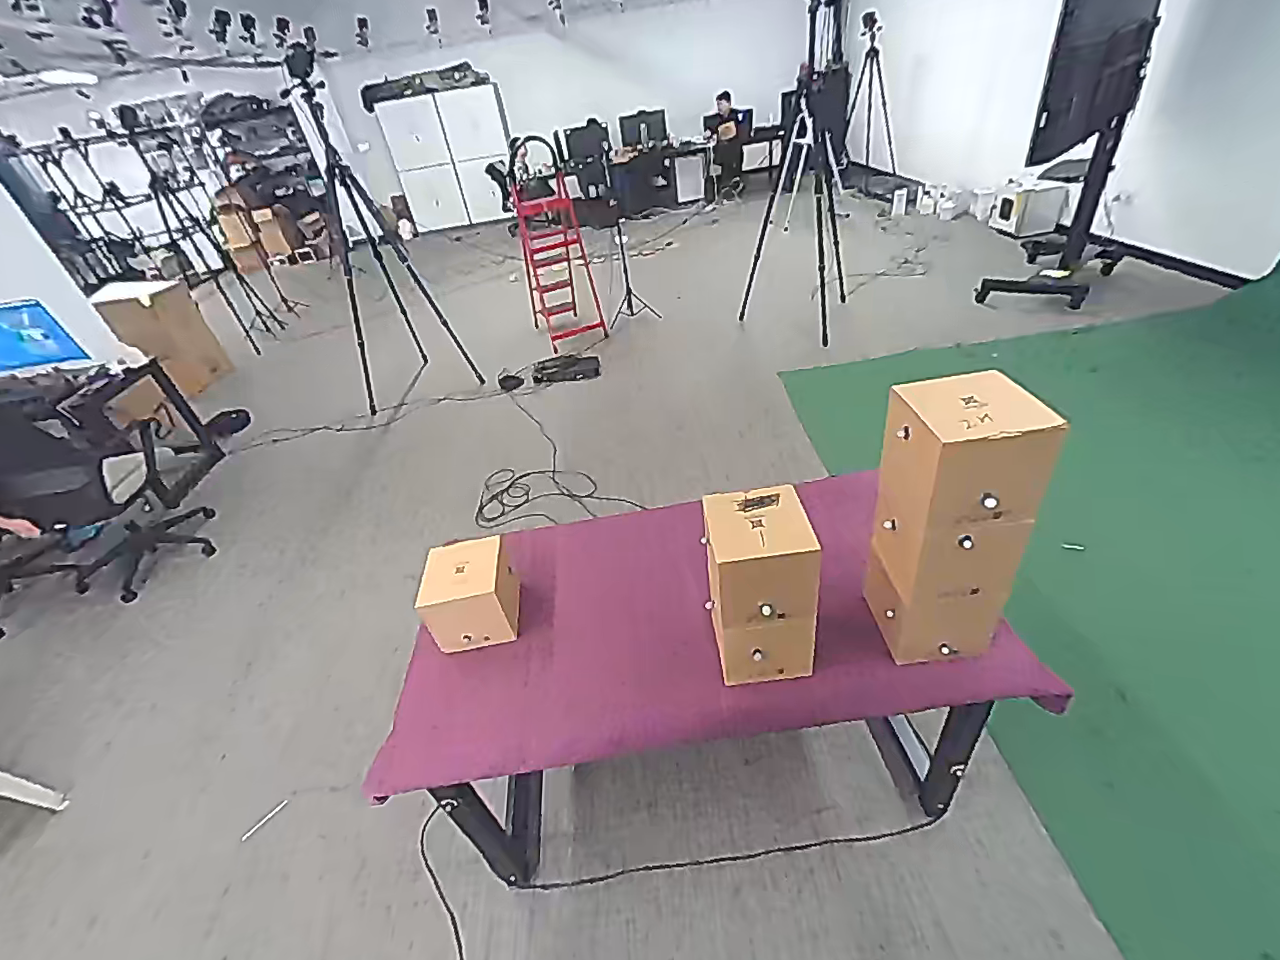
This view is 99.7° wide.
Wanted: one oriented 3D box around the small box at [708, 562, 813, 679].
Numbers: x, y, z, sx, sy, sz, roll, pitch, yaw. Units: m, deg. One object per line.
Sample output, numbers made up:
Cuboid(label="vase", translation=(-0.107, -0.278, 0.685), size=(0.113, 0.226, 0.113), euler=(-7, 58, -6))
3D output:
Cuboid(label="small box", translation=(0.229, 0.264, 1.044), size=(0.168, 0.176, 0.179), euler=(-8, 35, 3))

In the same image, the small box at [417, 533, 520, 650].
Cuboid(label="small box", translation=(-0.371, 0.248, 1.208), size=(0.168, 0.176, 0.179), euler=(-11, 37, 0))

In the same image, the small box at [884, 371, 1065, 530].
Cuboid(label="small box", translation=(0.494, -0.046, 0.834), size=(0.168, 0.176, 0.179), euler=(-9, 37, 4))

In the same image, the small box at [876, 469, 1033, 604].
Cuboid(label="small box", translation=(0.520, 0.087, 0.928), size=(0.168, 0.176, 0.179), euler=(-8, 35, 5))

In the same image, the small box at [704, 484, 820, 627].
Cuboid(label="small box", translation=(0.207, 0.131, 0.950), size=(0.168, 0.176, 0.179), euler=(-8, 36, 4))
